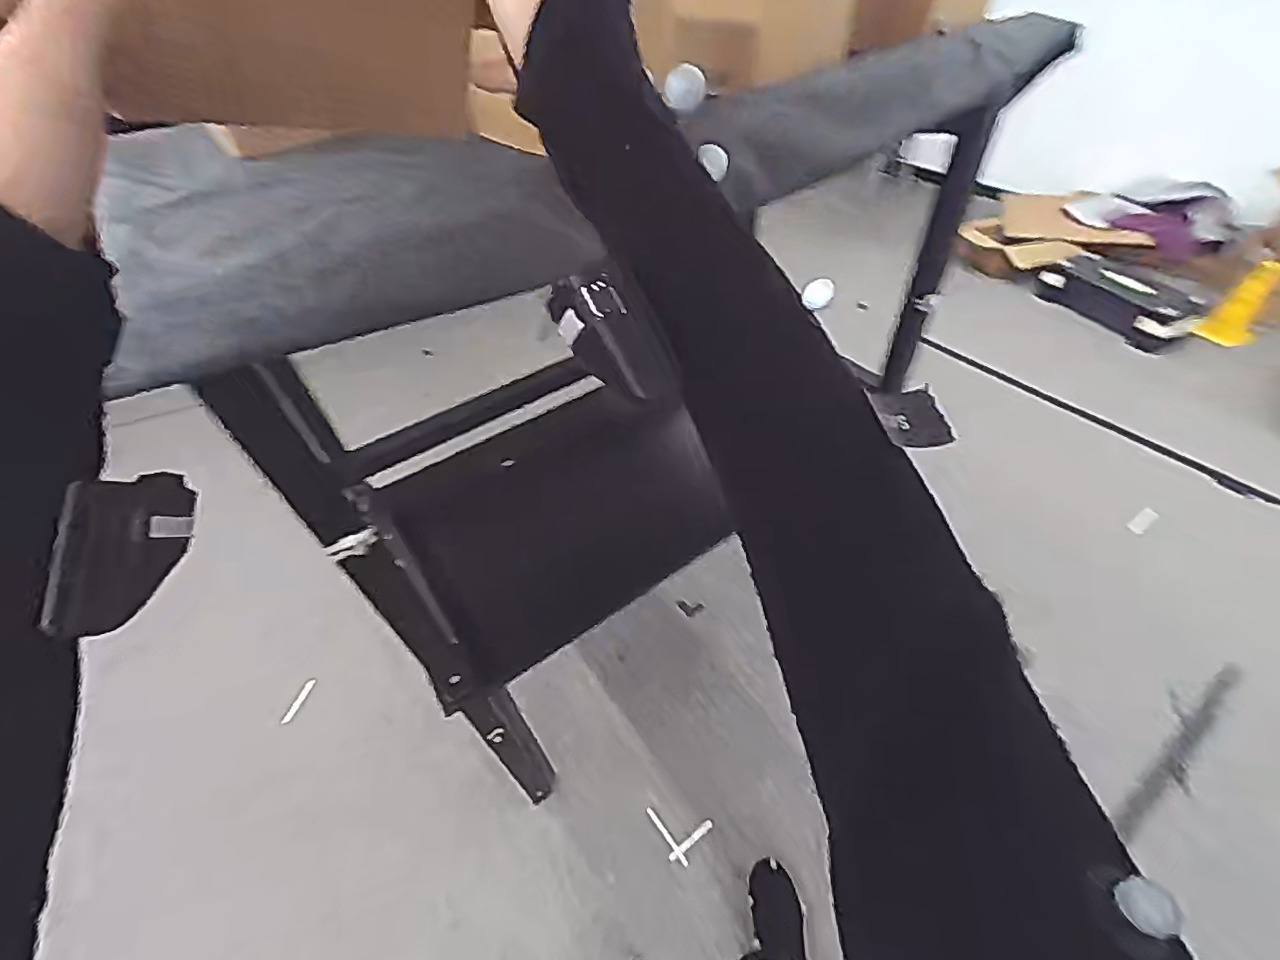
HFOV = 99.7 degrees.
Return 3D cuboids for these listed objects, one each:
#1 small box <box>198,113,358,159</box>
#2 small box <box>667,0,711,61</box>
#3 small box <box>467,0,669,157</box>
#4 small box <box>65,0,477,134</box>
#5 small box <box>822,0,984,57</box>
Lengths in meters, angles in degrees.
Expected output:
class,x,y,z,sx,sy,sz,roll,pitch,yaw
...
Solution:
class,x,y,z,sx,sy,sz,roll,pitch,yaw
small box,-0.454,-0.509,0.644,0.179,0.176,0.168,-31,52,-24
small box,0.003,-0.783,0.866,0.168,0.176,0.179,-31,52,-22
small box,-0.086,-0.461,0.571,0.168,0.176,0.179,-34,52,-24
small box,-0.174,-0.293,0.244,0.179,0.176,0.168,-12,82,-24
small box,0.395,-0.739,0.790,0.168,0.176,0.179,-33,52,-23
